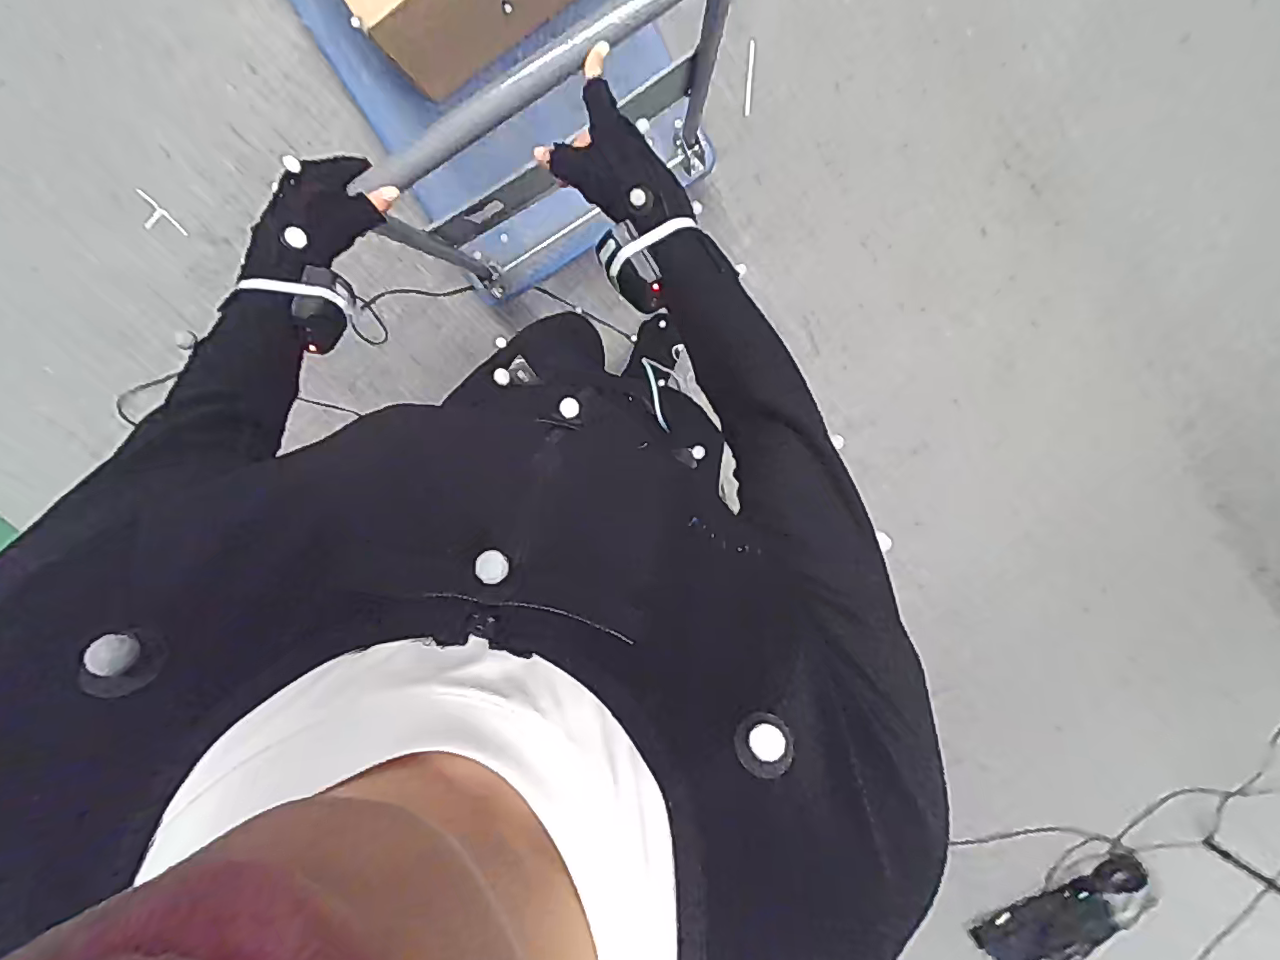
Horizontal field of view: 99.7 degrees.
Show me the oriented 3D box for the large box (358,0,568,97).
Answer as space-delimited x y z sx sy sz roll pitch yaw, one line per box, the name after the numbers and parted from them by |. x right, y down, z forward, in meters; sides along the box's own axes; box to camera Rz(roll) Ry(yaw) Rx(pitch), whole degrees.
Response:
-0.298 -0.926 0.857 0.408 0.320 0.320 -32 105 10 | large box
